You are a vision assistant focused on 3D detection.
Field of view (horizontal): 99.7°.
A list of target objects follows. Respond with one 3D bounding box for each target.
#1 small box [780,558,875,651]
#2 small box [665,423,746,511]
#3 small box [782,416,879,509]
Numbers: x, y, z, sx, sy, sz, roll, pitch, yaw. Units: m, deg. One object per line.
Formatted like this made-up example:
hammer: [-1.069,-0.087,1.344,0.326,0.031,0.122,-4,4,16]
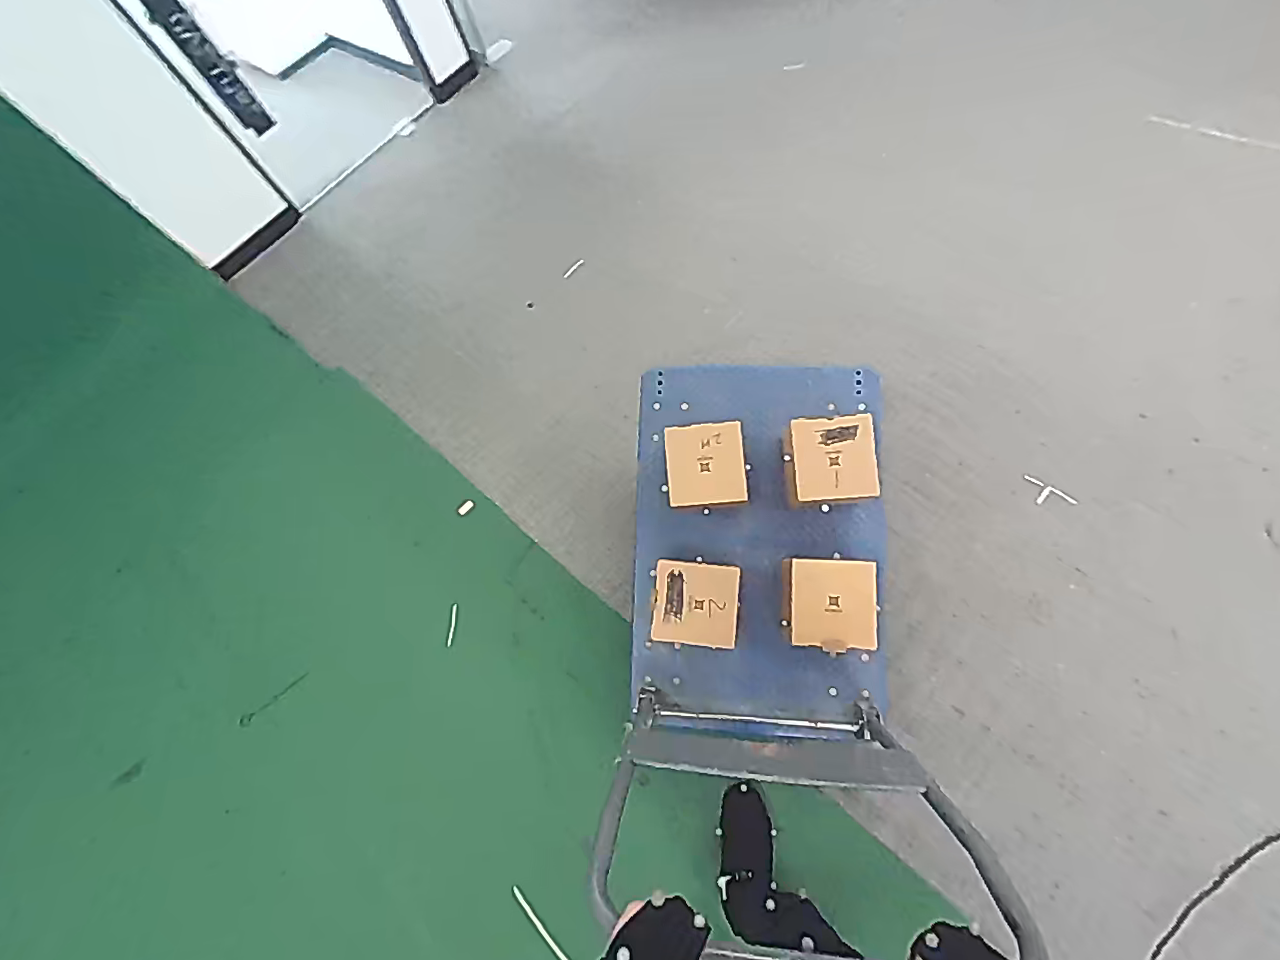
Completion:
small box: [0.397,0.262,1.165,0.168,0.176,0.179,1,82,8]
small box: [0.149,-0.021,1.235,0.168,0.176,0.179,-4,81,6]
small box: [0.414,-0.033,1.204,0.168,0.176,0.179,-4,82,7]
